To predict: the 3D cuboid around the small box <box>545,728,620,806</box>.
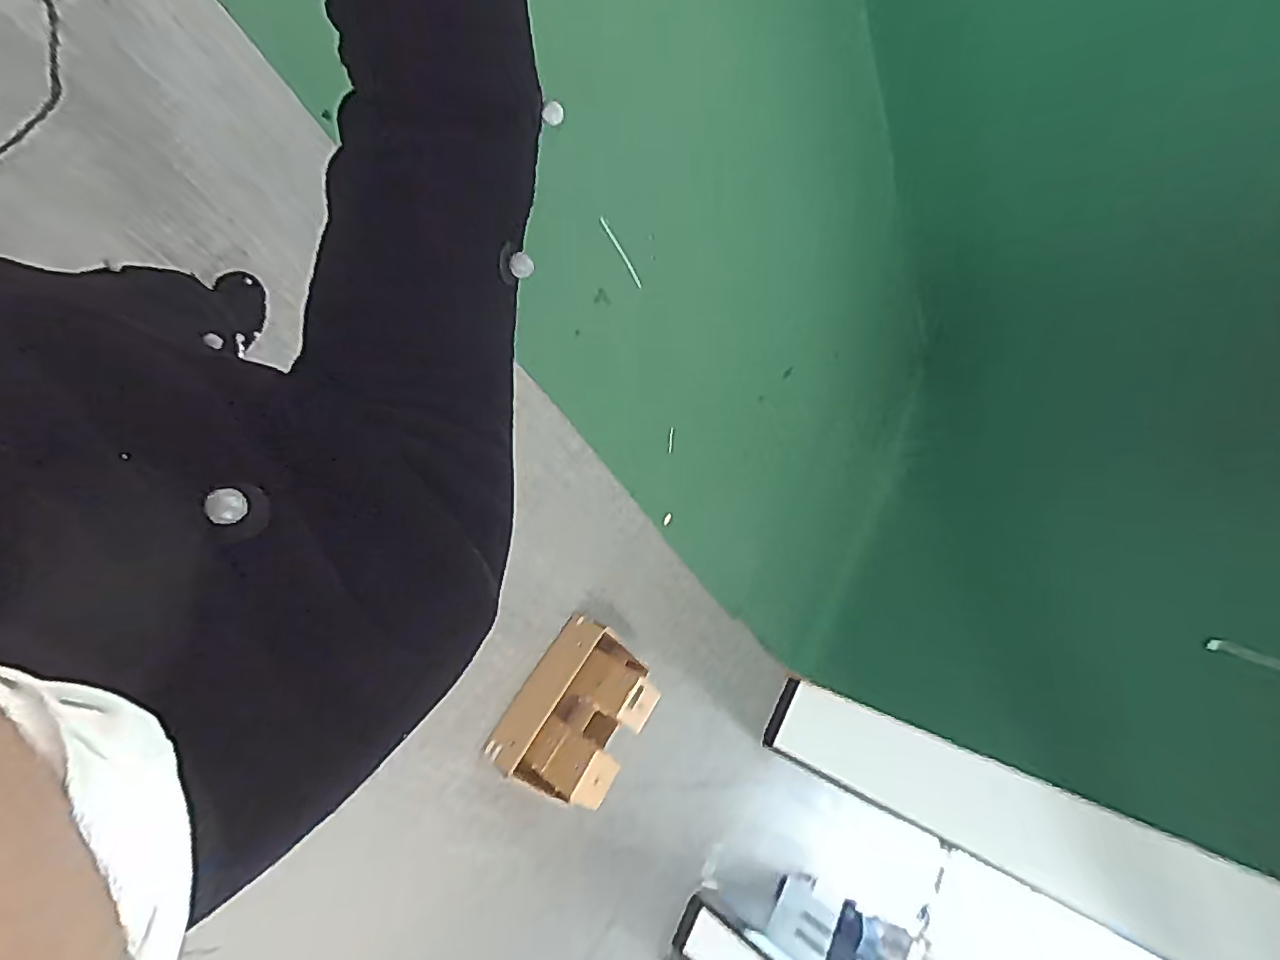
[{"bbox_3d":[-0.213,1.031,1.956,0.179,0.176,0.168,-56,130,-21],"label":"small box"}]
